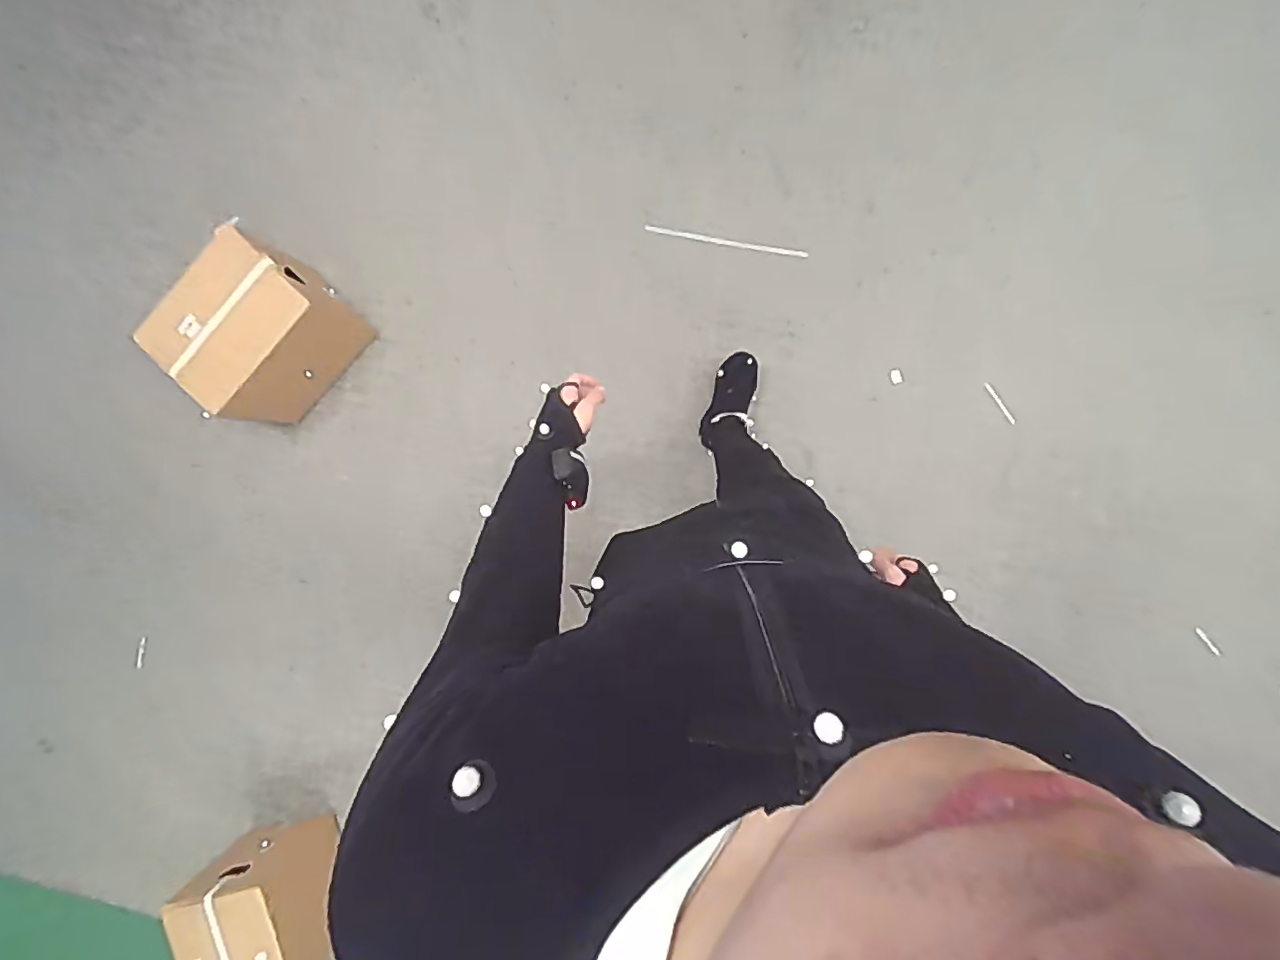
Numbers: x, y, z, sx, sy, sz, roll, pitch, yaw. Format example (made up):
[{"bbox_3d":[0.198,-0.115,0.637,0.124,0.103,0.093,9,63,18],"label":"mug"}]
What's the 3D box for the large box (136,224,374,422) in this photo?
[{"bbox_3d":[-1.064,-0.418,1.537,0.320,0.320,0.408,44,96,3],"label":"large box"}]
